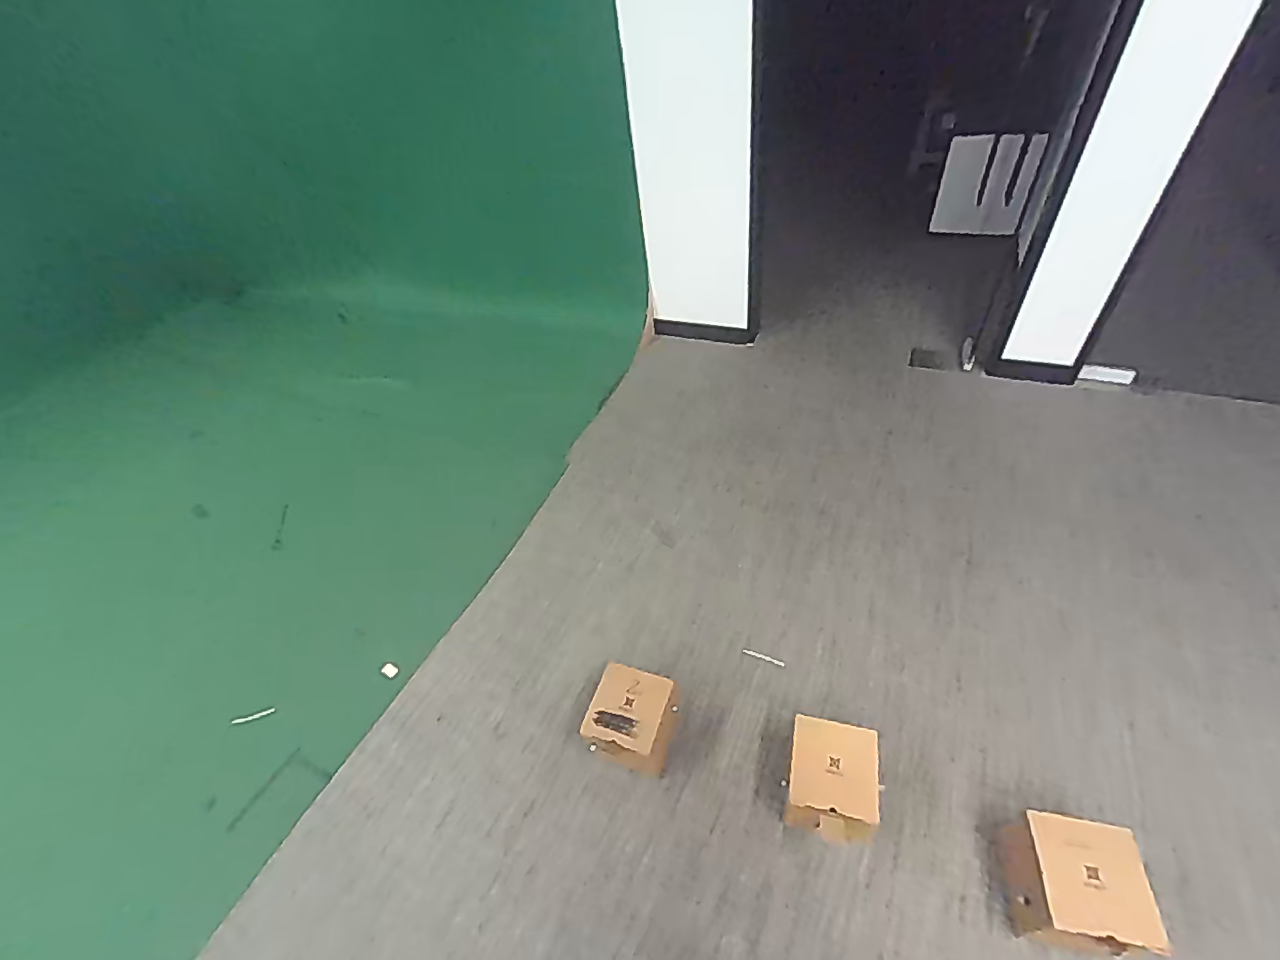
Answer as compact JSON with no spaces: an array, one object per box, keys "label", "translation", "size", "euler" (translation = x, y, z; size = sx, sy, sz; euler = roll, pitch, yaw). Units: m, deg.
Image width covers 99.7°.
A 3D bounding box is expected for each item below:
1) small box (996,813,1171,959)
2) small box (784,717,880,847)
[{"label":"small box","translation":[0.769,0.730,0.963],"size":[0.168,0.176,0.179],"euler":[5,46,13]},{"label":"small box","translation":[0.395,0.629,1.127],"size":[0.168,0.176,0.179],"euler":[6,47,16]}]
